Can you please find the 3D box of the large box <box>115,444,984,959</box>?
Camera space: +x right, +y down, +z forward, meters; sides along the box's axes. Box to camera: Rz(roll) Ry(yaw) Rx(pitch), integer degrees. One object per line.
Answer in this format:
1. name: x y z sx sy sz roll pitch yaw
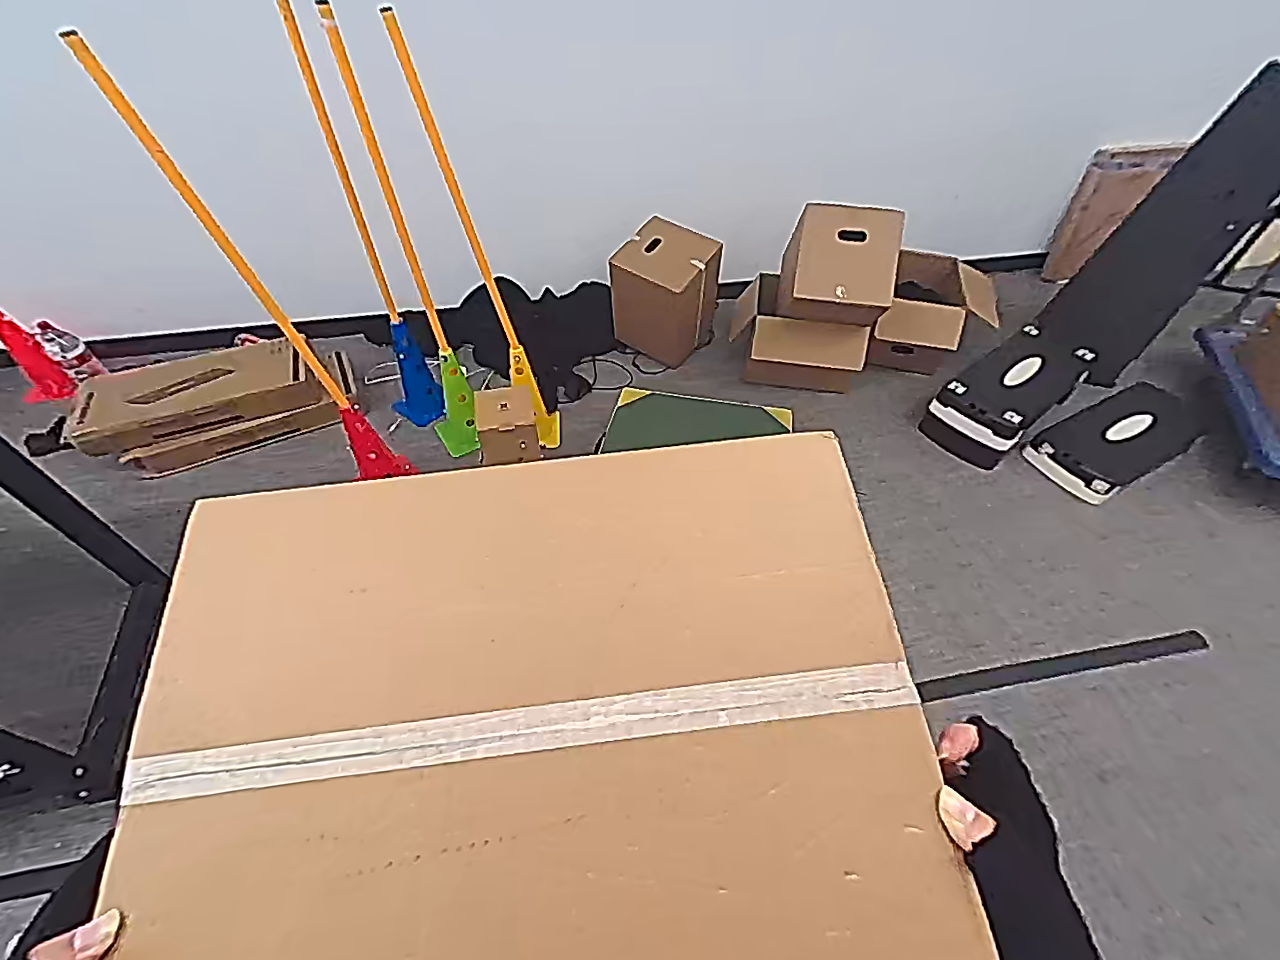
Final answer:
1. large box: -0.053 0.201 0.423 0.408 0.320 0.320 -7 65 -2
